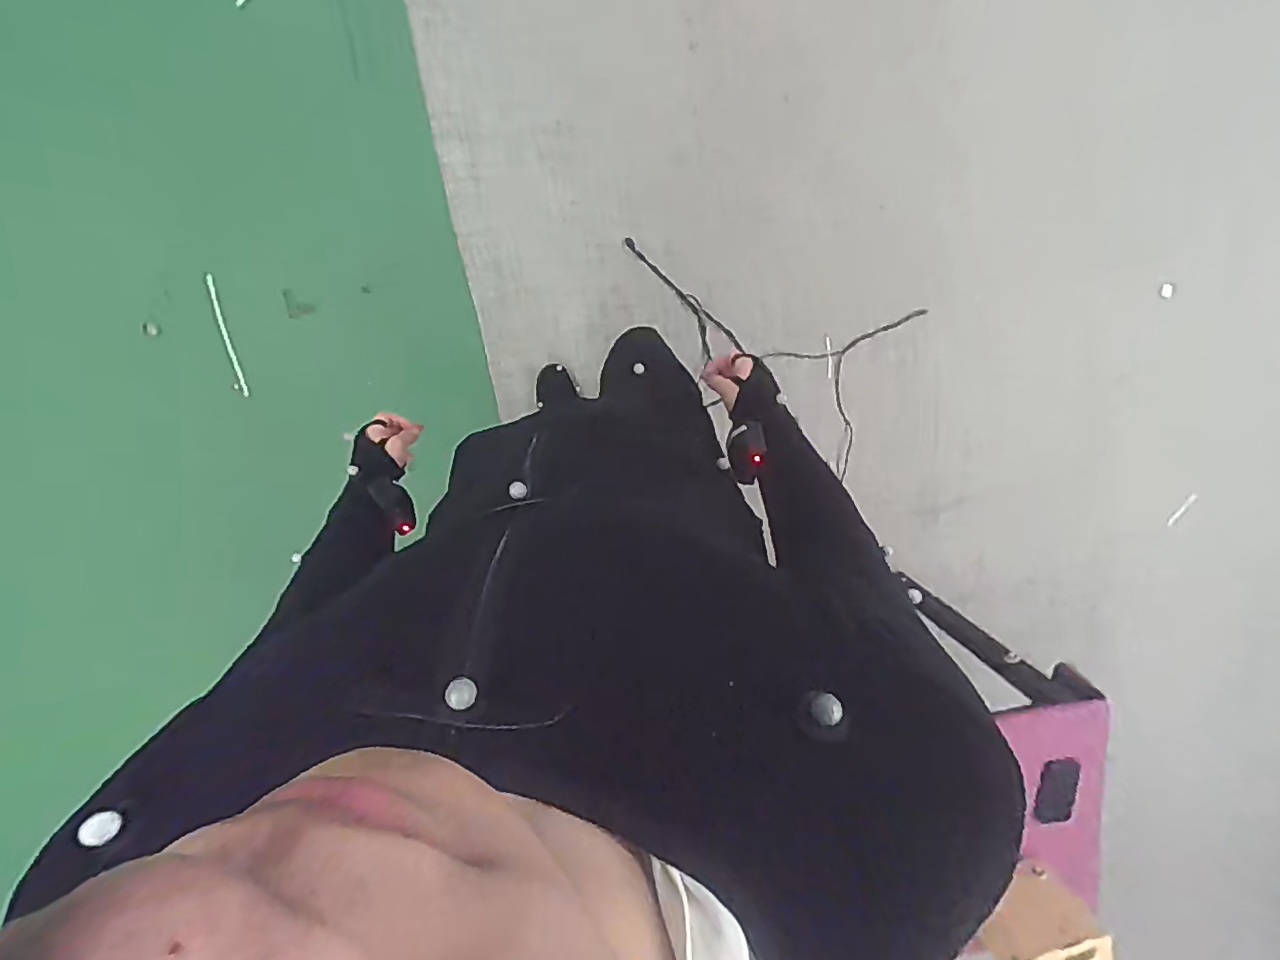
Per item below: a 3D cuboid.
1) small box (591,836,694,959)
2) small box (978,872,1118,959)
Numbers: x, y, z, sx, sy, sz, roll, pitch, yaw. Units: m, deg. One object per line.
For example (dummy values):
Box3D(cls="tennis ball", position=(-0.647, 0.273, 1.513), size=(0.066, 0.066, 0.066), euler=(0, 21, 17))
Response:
Box3D(cls="small box", position=(0.004, 0.802, 0.988), size=(0.168, 0.176, 0.179), euler=(-9, 104, -5))
Box3D(cls="small box", position=(0.828, 0.948, 1.109), size=(0.168, 0.176, 0.179), euler=(-15, 105, -2))
